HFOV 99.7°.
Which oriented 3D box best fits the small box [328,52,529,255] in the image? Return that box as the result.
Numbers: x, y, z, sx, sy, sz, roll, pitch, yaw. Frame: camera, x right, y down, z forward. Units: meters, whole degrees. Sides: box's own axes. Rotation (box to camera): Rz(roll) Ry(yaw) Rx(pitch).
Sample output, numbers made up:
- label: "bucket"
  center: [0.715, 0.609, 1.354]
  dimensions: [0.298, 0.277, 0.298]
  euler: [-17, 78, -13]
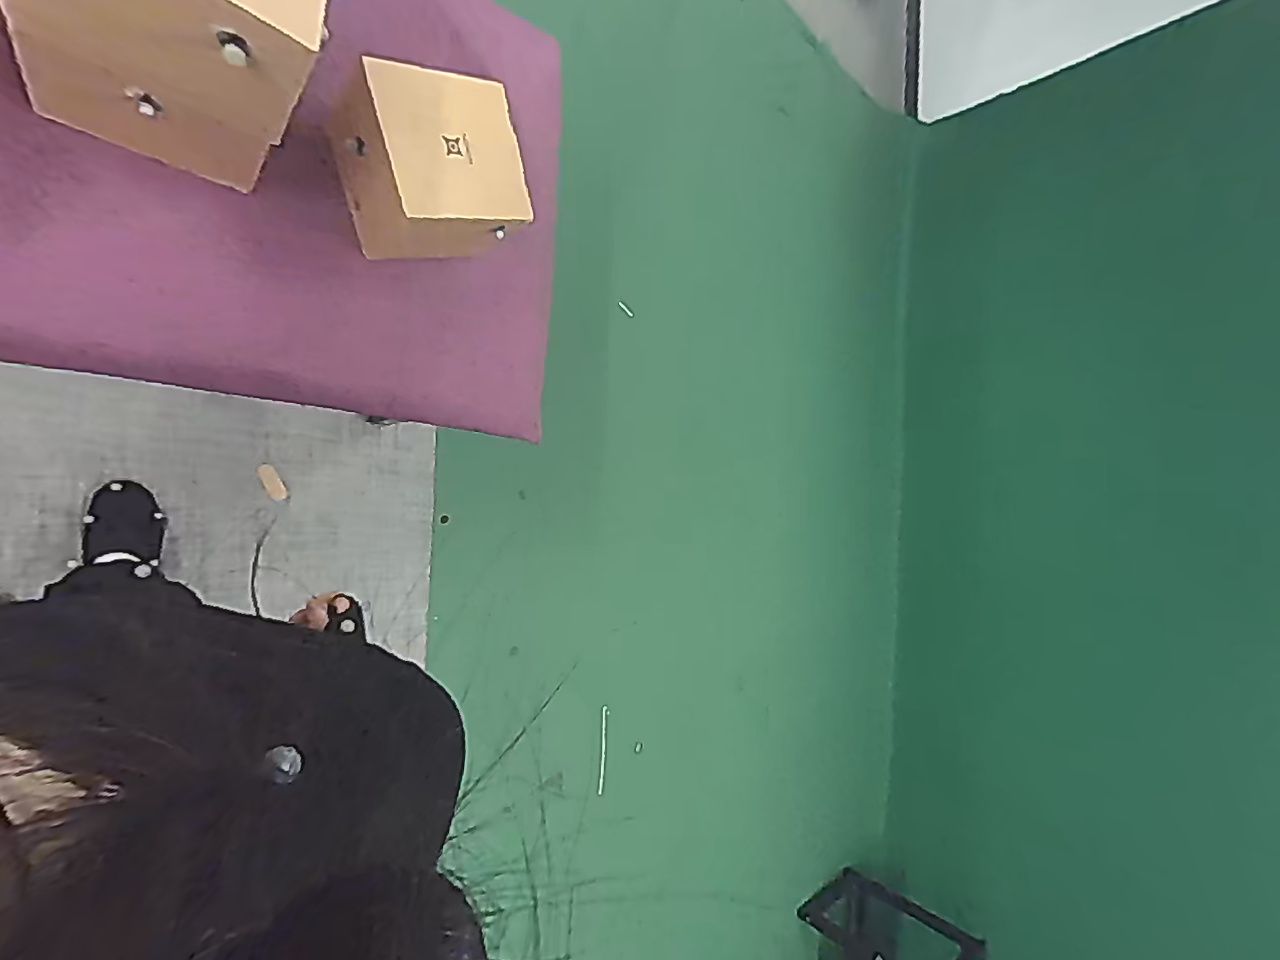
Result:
- label: "small box"
  center: [-0.276, -0.397, 0.695]
  dimensions: [0.179, 0.176, 0.168]
  euler: [-23, 107, -41]

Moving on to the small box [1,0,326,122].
- label: "small box"
  center: [-0.346, -0.411, 0.402]
  dimensions: [0.179, 0.176, 0.168]
  euler: [10, 84, -43]
